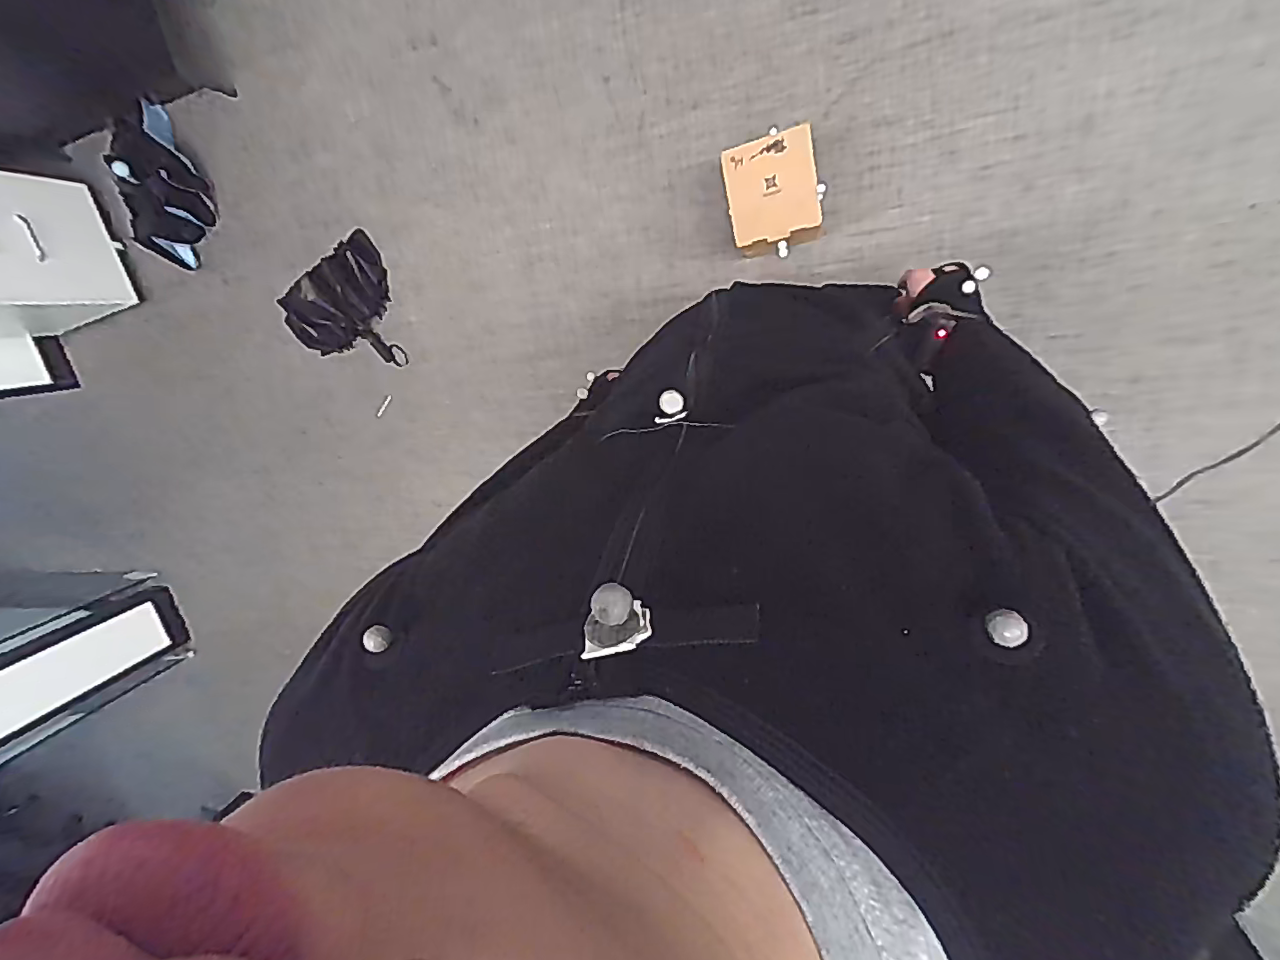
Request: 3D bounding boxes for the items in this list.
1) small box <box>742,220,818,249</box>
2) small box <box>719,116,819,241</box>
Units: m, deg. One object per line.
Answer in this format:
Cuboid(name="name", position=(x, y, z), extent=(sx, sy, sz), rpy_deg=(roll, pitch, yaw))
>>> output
Cuboid(name="small box", position=(0.309, -0.643, 1.234), extent=(0.168, 0.176, 0.179), rpy_deg=(-9, 107, 21))
Cuboid(name="small box", position=(0.266, -0.590, 1.086), extent=(0.168, 0.176, 0.179), rpy_deg=(-7, 108, 21))
